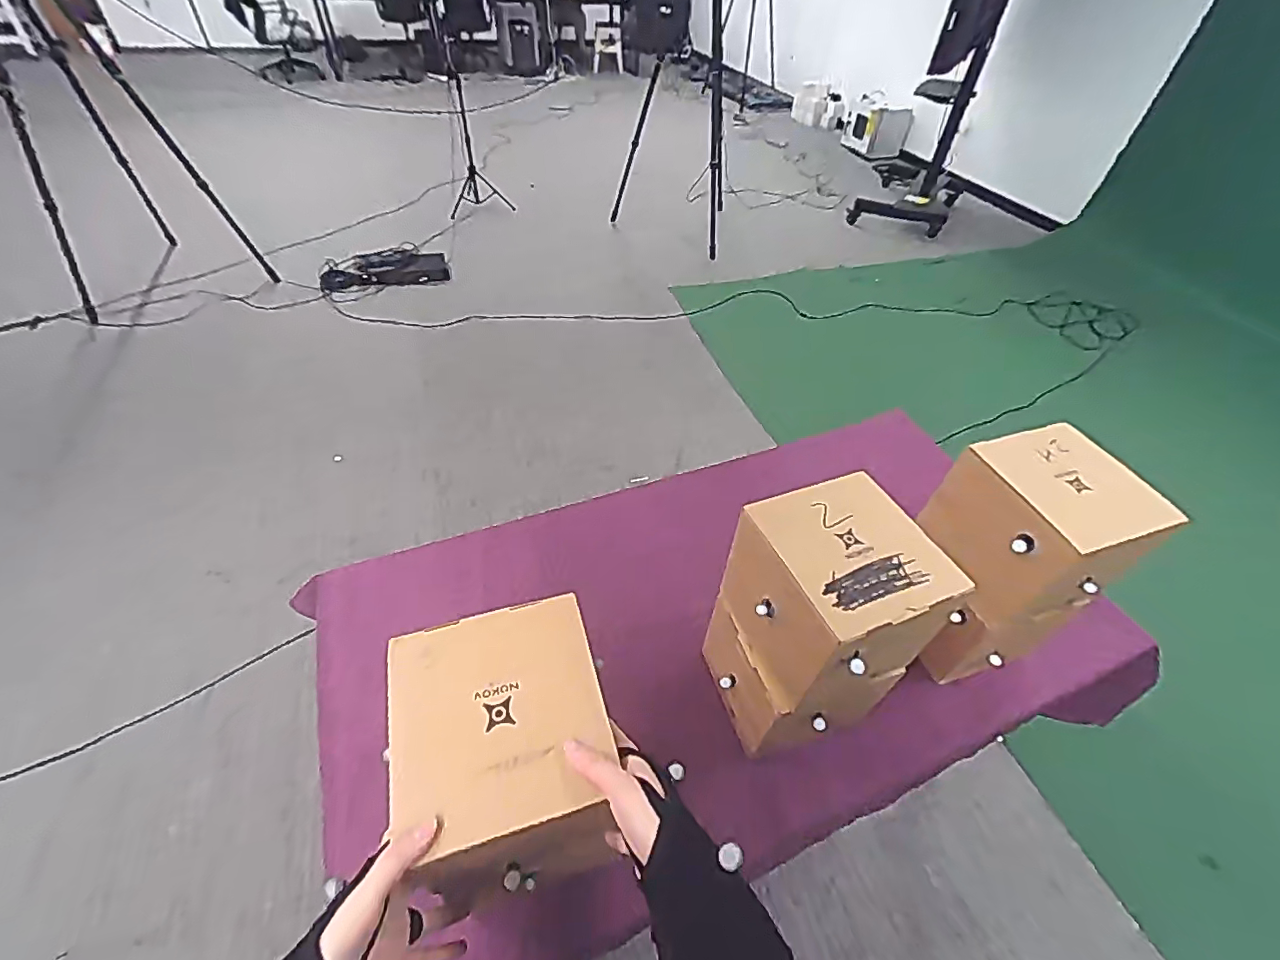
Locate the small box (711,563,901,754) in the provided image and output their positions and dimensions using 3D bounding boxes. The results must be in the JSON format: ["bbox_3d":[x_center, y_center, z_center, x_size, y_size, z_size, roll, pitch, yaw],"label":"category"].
[{"bbox_3d":[0.205,0.243,0.733,0.179,0.176,0.168,-12,49,-14],"label":"small box"}]

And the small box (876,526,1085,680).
[{"bbox_3d":[0.495,0.172,0.821,0.168,0.176,0.179,-11,49,-13],"label":"small box"}]

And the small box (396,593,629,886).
[{"bbox_3d":[-0.114,0.235,0.494,0.168,0.176,0.179,-11,50,-13],"label":"small box"}]

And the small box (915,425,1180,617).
[{"bbox_3d":[0.504,0.058,0.702,0.168,0.176,0.179,-12,48,-15],"label":"small box"}]

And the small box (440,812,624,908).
[{"bbox_3d":[-0.123,0.349,0.610,0.179,0.176,0.168,-12,48,-15],"label":"small box"}]
